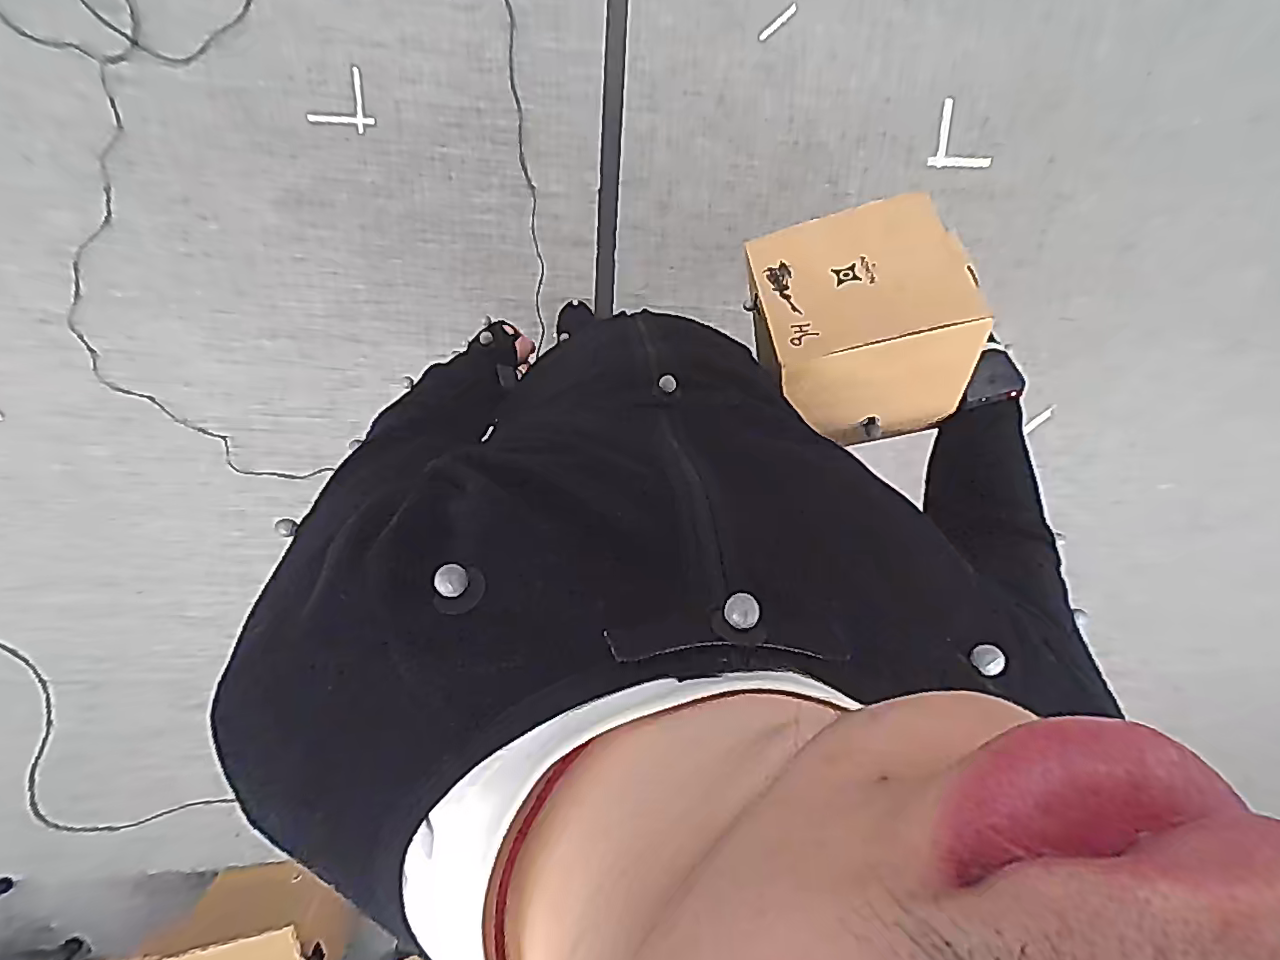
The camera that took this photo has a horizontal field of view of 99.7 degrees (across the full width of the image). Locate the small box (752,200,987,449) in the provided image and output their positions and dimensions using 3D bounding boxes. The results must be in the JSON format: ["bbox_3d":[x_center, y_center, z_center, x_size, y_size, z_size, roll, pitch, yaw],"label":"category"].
[{"bbox_3d":[0.223,-0.154,0.577,0.179,0.168,0.176,-12,150,10],"label":"small box"}]
